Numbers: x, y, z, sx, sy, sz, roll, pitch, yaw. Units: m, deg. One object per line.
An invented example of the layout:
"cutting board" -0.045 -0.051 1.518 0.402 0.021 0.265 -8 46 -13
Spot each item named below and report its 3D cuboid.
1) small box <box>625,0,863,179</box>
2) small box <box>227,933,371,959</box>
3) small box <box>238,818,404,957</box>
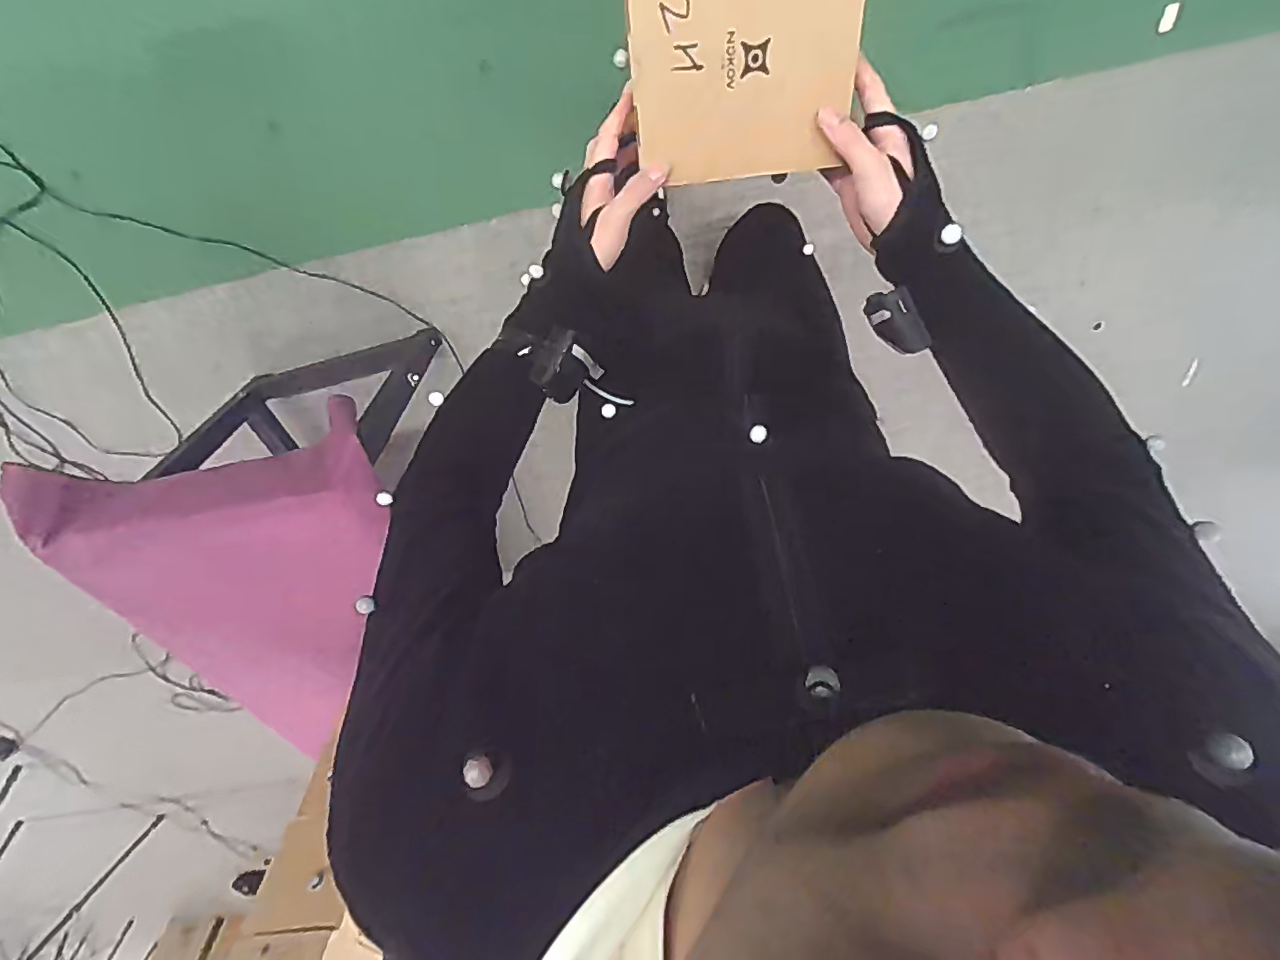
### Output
"small box" 0.078 -0.382 0.473 0.179 0.176 0.168 -4 131 4
"small box" -0.543 0.823 0.828 0.168 0.176 0.179 -9 126 6
"small box" -0.544 0.723 0.959 0.179 0.176 0.168 -7 127 4
